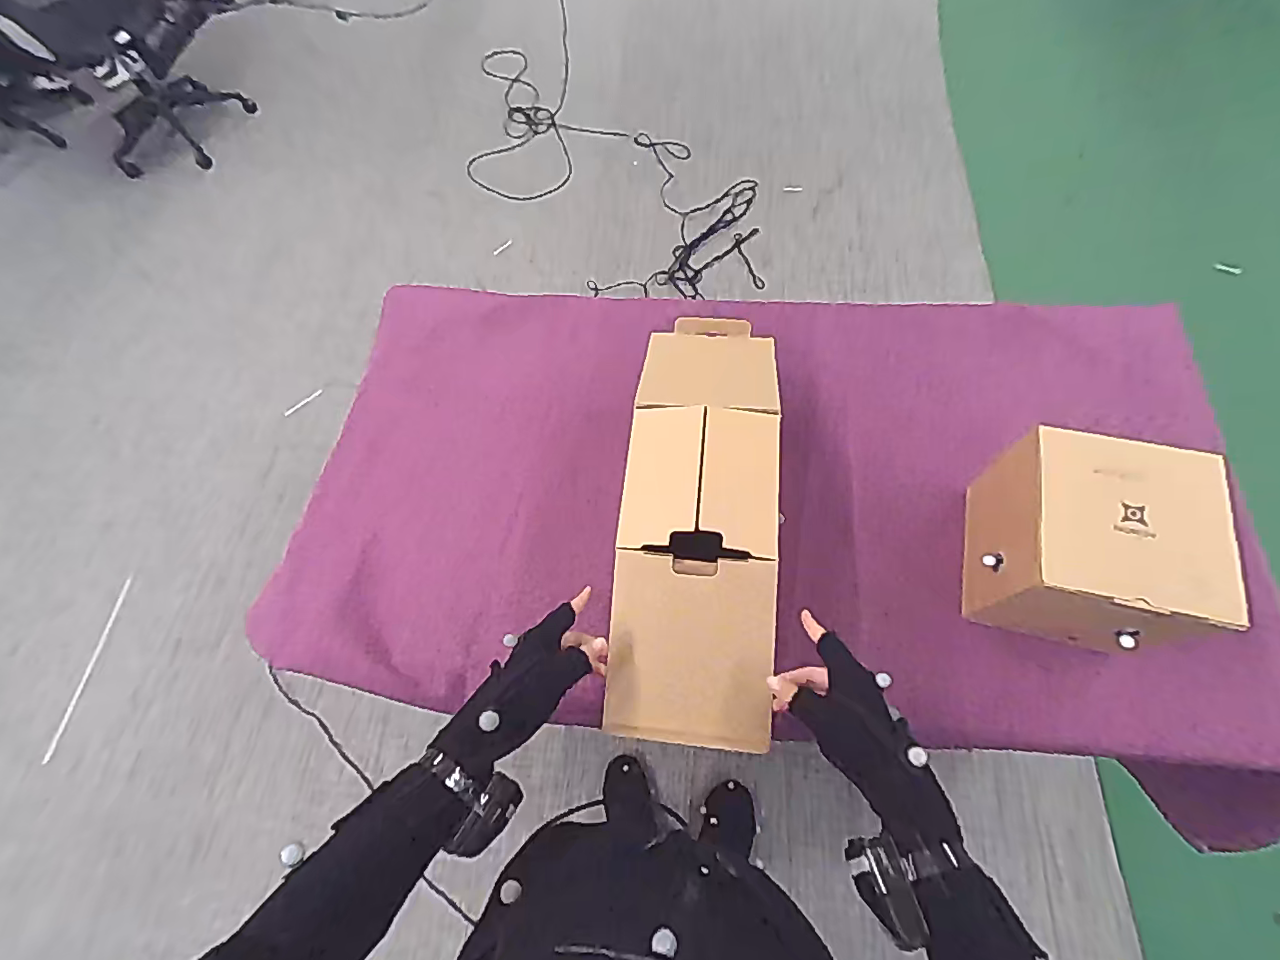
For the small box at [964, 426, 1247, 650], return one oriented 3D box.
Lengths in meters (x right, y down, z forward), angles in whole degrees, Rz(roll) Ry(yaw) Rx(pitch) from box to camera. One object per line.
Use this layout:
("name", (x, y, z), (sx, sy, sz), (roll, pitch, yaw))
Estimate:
("small box", (0.473, 0.070, 0.582), (0.168, 0.176, 0.179), (13, 67, 12))
